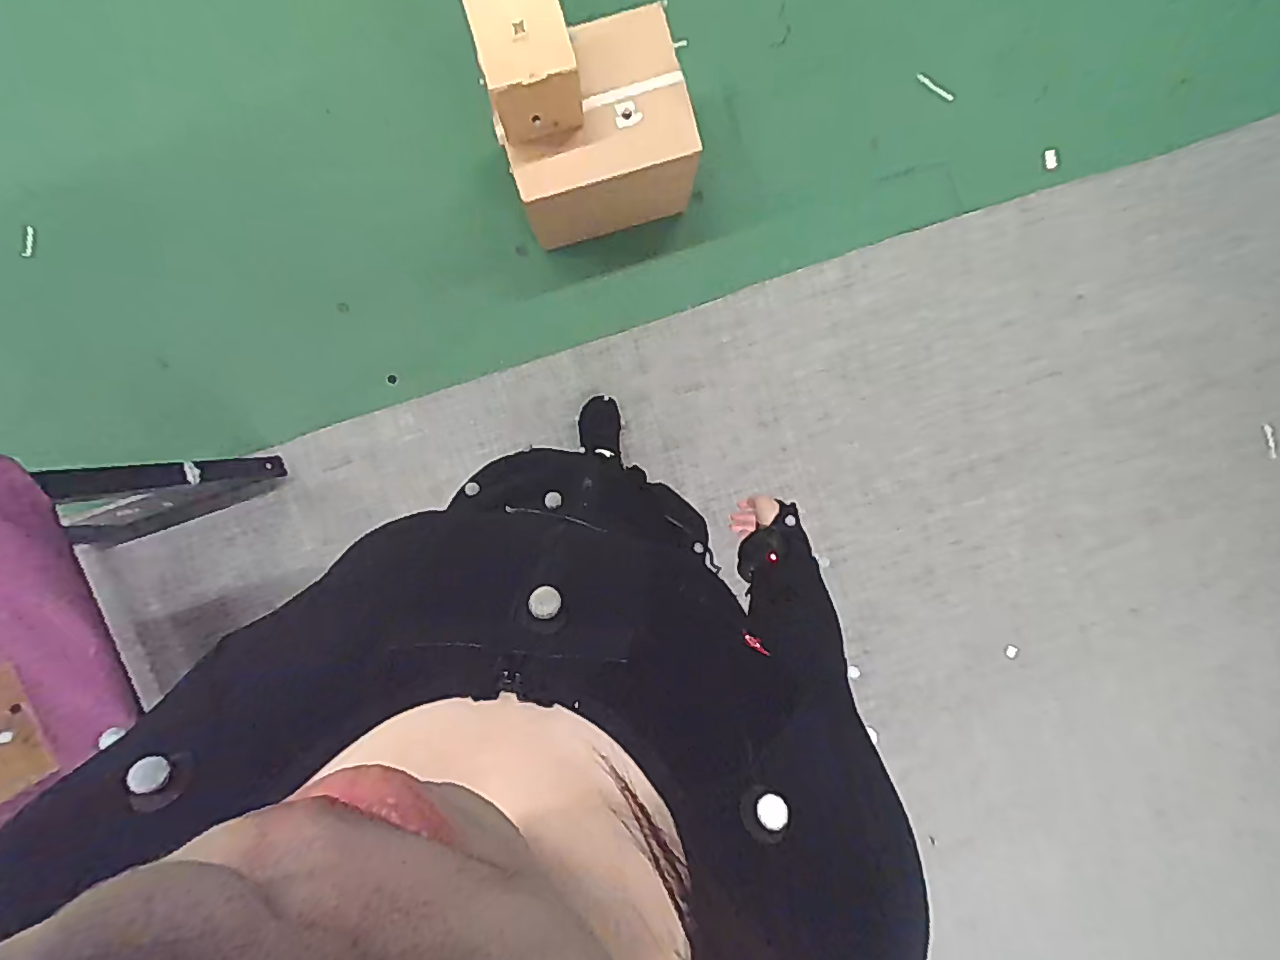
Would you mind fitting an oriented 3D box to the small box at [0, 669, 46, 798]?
[{"bbox_3d":[-0.923,0.362,0.666,0.179,0.176,0.168,-18,95,-1],"label":"small box"}]

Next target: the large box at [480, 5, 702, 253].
[{"bbox_3d":[-0.107,-0.790,1.274,0.408,0.320,0.320,-17,95,-2],"label":"large box"}]

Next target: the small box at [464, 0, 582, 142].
[{"bbox_3d":[-0.214,-0.790,1.026,0.168,0.176,0.179,-17,94,-2],"label":"small box"}]
